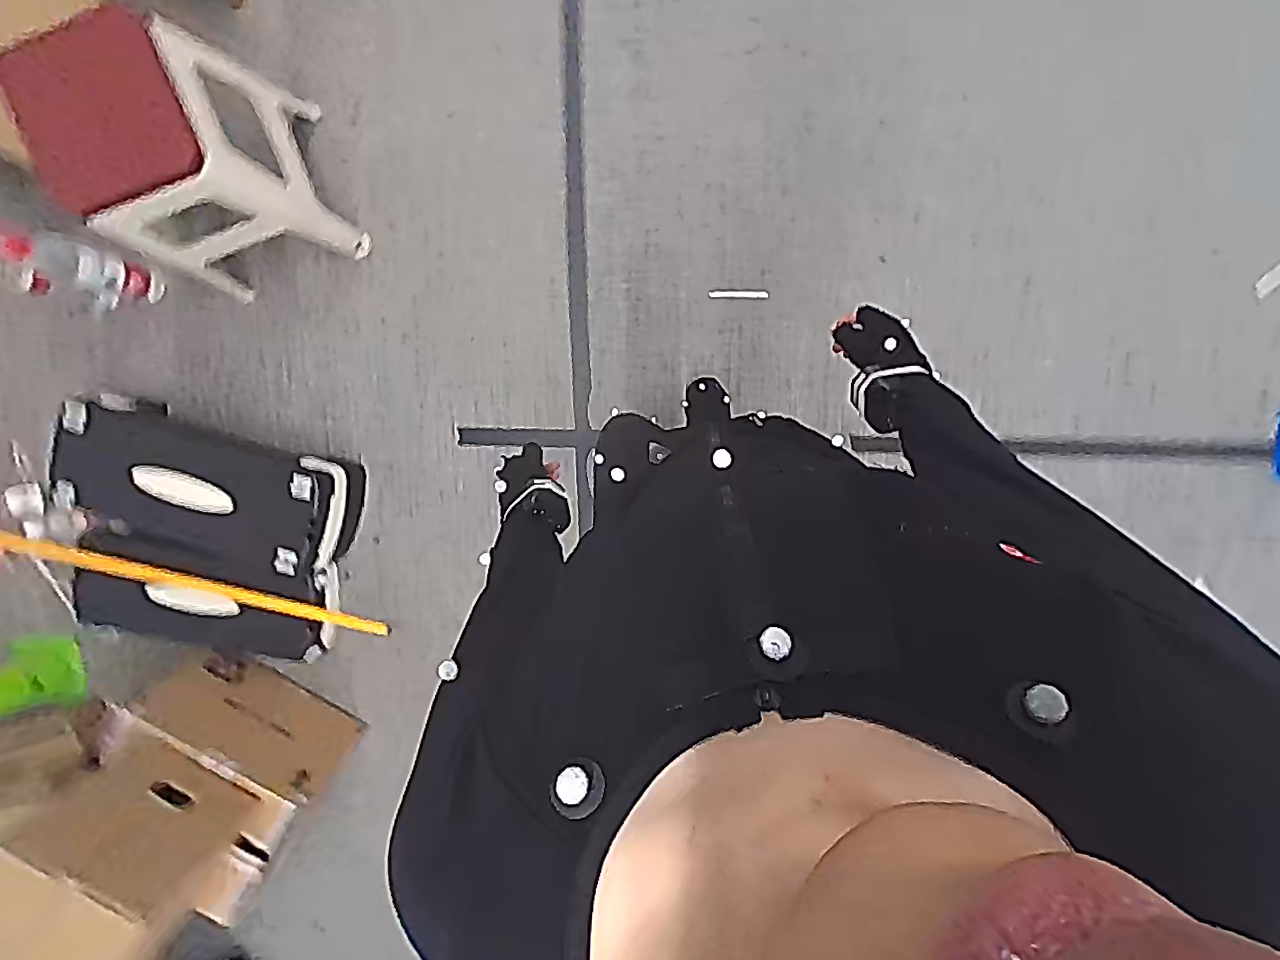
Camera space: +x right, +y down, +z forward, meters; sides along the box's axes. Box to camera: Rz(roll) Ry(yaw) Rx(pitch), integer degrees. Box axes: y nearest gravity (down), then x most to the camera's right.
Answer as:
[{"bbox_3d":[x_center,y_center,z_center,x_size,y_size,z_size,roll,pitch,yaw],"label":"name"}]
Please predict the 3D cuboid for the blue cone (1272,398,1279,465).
[{"bbox_3d":[1.758,-0.113,1.260,0.193,0.380,0.192,-4,97,1],"label":"blue cone"}]
